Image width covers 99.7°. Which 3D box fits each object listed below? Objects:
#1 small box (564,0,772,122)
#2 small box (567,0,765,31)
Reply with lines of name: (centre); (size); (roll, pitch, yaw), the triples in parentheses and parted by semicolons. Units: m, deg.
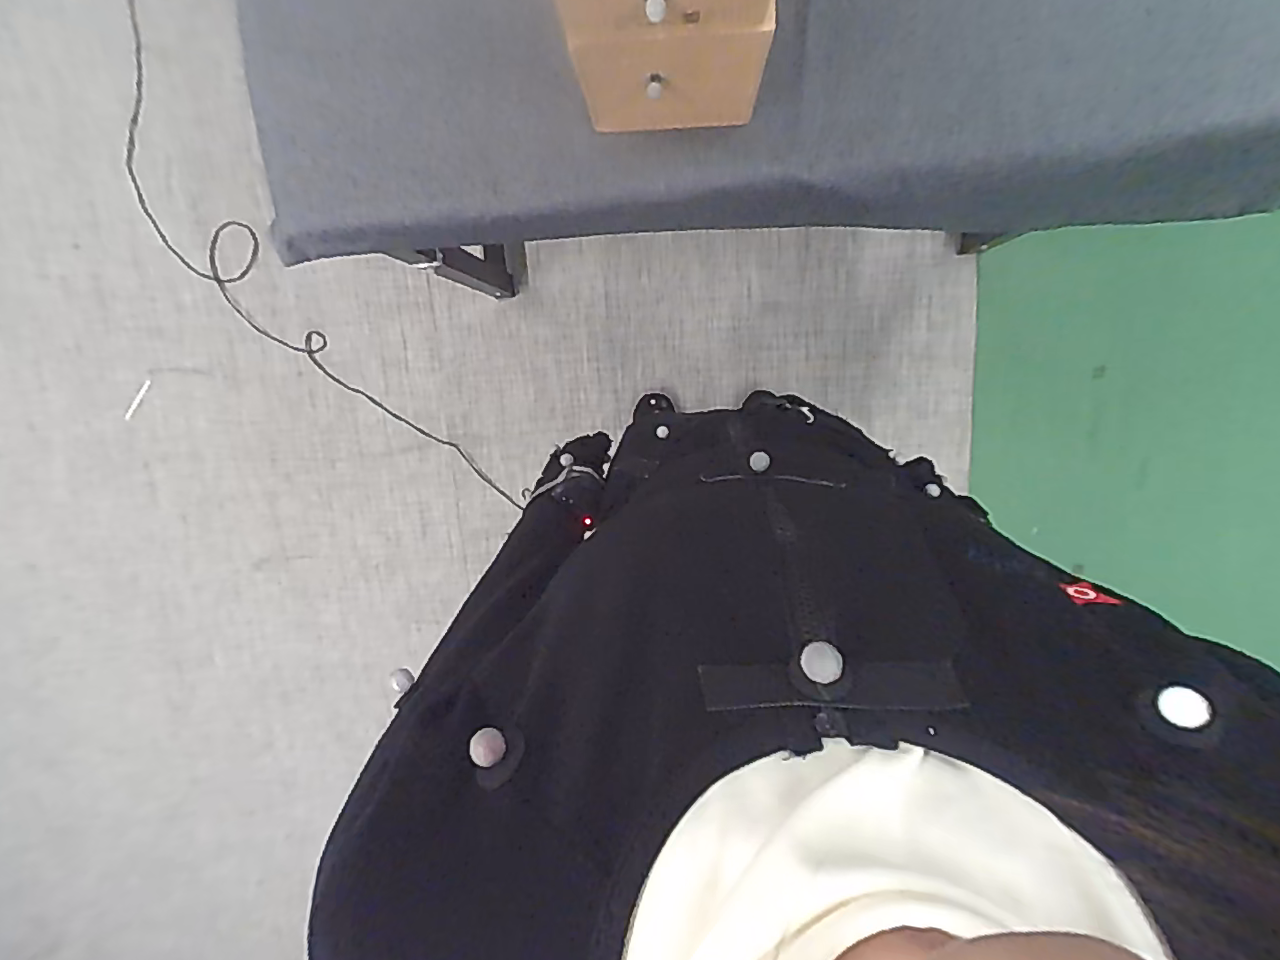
small box: (0.029, -0.470, 0.519); (0.179, 0.176, 0.168); (0, 101, 4)
small box: (0.015, -0.447, 0.356); (0.168, 0.176, 0.179); (0, 101, 4)
